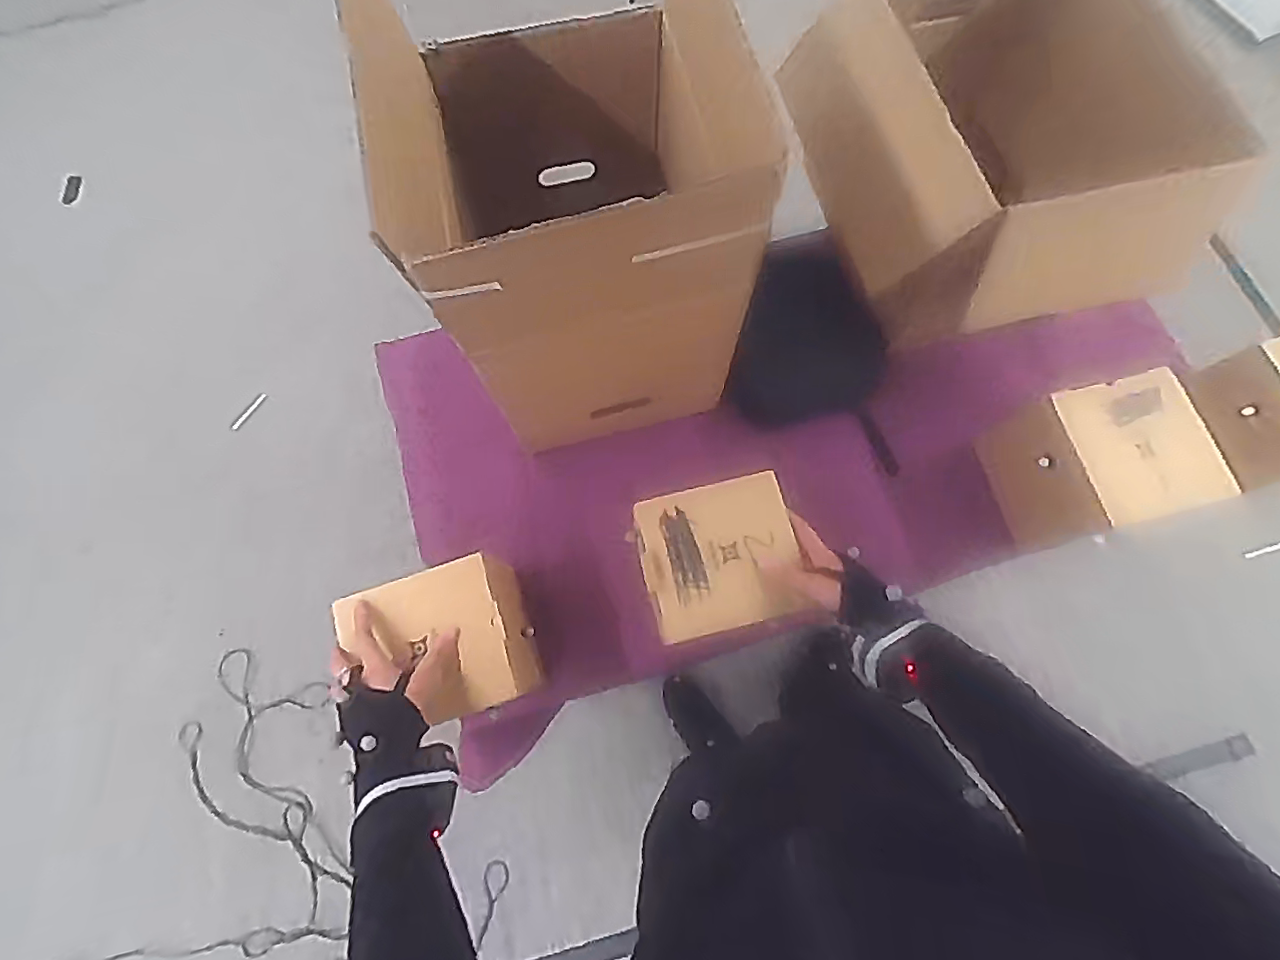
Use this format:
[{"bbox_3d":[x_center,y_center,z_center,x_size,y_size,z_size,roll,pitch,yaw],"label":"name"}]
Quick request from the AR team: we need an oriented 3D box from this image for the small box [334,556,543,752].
[{"bbox_3d":[-0.236,0.210,0.668,0.179,0.176,0.168,-19,74,-6],"label":"small box"}]

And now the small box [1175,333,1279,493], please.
[{"bbox_3d":[0.871,-0.092,0.734,0.168,0.176,0.179,-13,73,-2],"label":"small box"}]

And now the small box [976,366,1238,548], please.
[{"bbox_3d":[0.595,-0.021,0.721,0.168,0.176,0.179,-14,74,-3],"label":"small box"}]
